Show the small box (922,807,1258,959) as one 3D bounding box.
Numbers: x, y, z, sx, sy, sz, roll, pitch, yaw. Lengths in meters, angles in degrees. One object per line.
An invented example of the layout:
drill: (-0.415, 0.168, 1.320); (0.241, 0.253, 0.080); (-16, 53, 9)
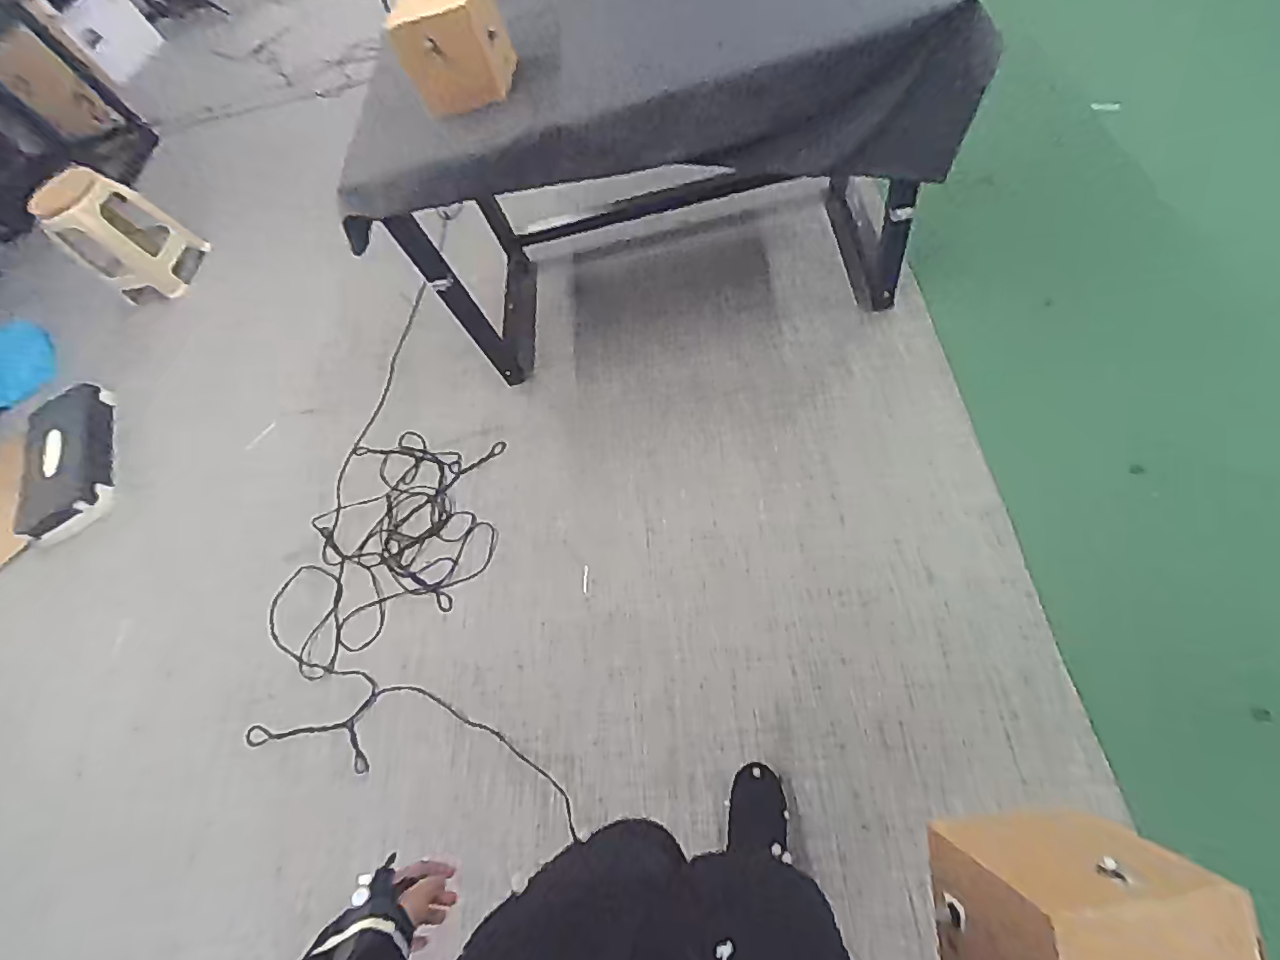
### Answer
small box: (0.395, 0.422, 0.491); (0.179, 0.176, 0.168); (-2, 79, -6)

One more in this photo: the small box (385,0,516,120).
small box: (-0.369, -0.870, 1.089); (0.179, 0.176, 0.168); (-4, 63, 13)
